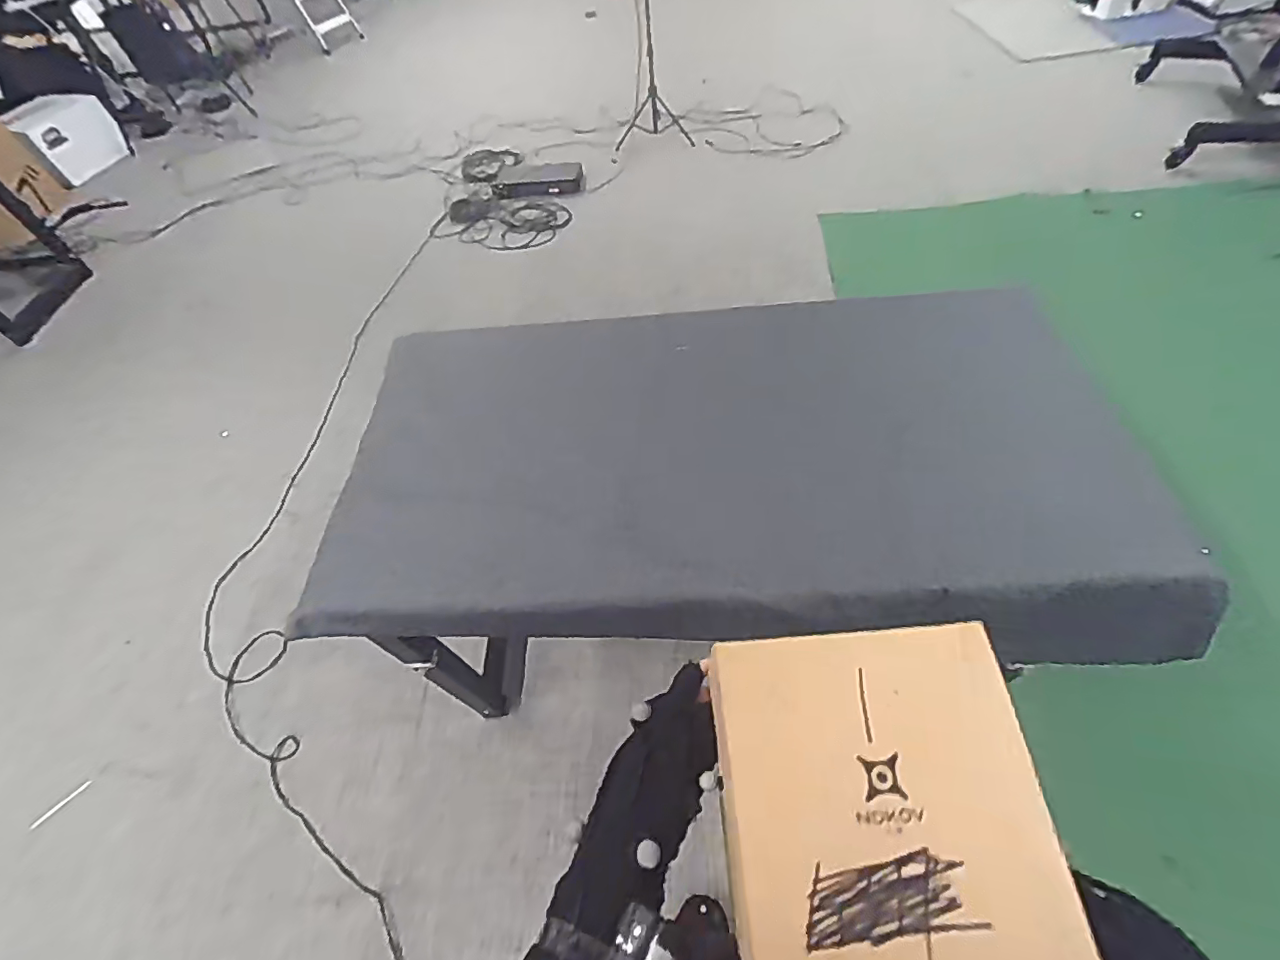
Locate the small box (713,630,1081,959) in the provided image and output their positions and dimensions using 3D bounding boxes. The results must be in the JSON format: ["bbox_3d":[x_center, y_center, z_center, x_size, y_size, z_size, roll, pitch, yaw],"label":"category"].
[{"bbox_3d":[0.141,0.213,0.376,0.168,0.176,0.179,-4,62,3],"label":"small box"}]
